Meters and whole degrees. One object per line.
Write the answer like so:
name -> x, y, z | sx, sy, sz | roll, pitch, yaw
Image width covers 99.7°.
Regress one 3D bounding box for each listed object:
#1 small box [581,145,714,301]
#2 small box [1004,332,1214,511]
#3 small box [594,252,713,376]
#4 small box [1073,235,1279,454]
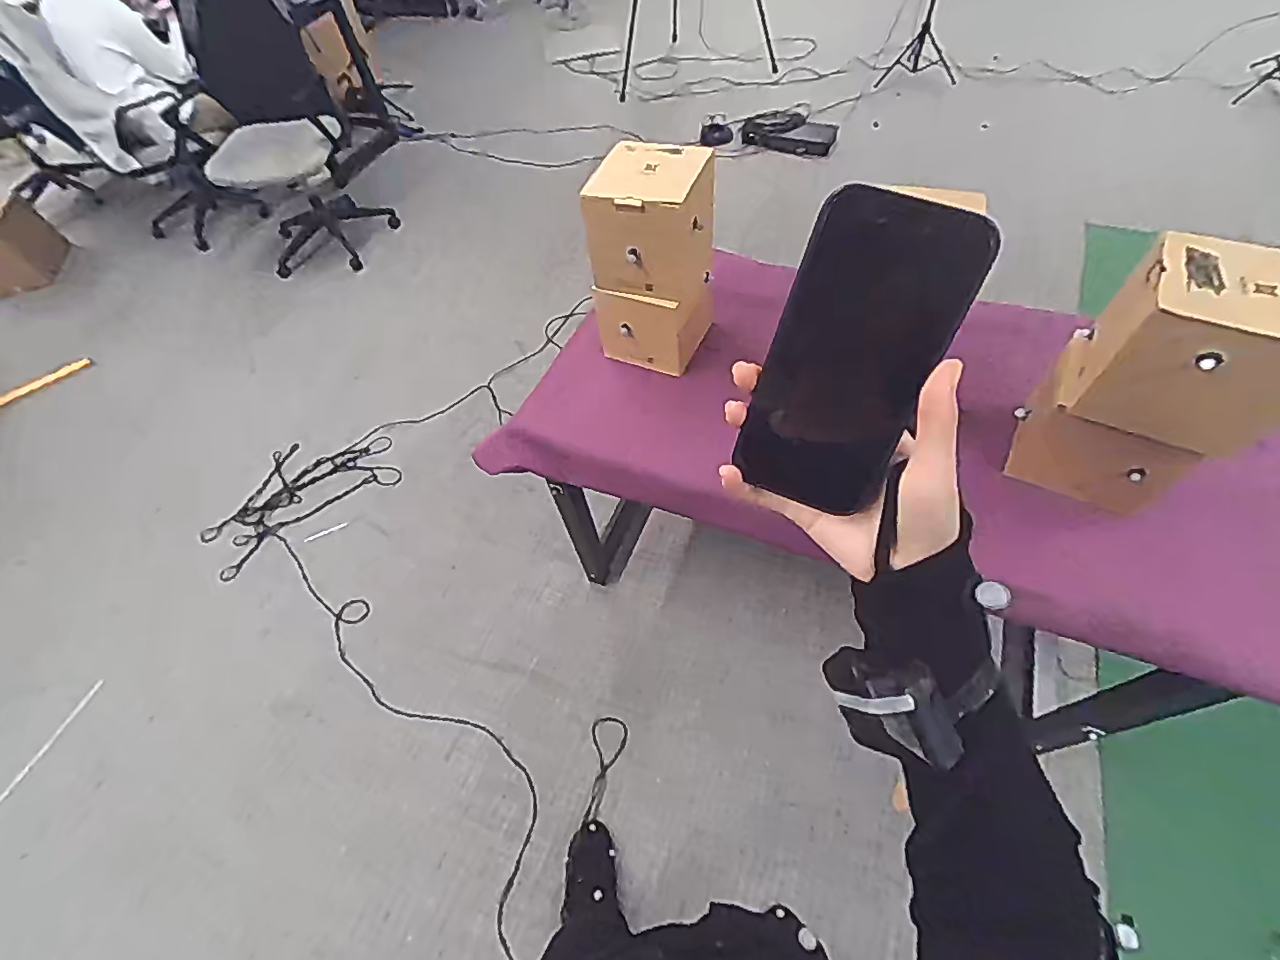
small box -> 0.023, -0.425, 0.904 | 0.168, 0.176, 0.179 | 15, 59, 15
small box -> 0.678, -0.079, 0.789 | 0.179, 0.176, 0.168 | 24, 61, 22
small box -> 0.035, -0.326, 1.034 | 0.168, 0.176, 0.179 | 19, 60, 19
small box -> 0.664, -0.157, 0.645 | 0.179, 0.176, 0.168 | 24, 61, 21
